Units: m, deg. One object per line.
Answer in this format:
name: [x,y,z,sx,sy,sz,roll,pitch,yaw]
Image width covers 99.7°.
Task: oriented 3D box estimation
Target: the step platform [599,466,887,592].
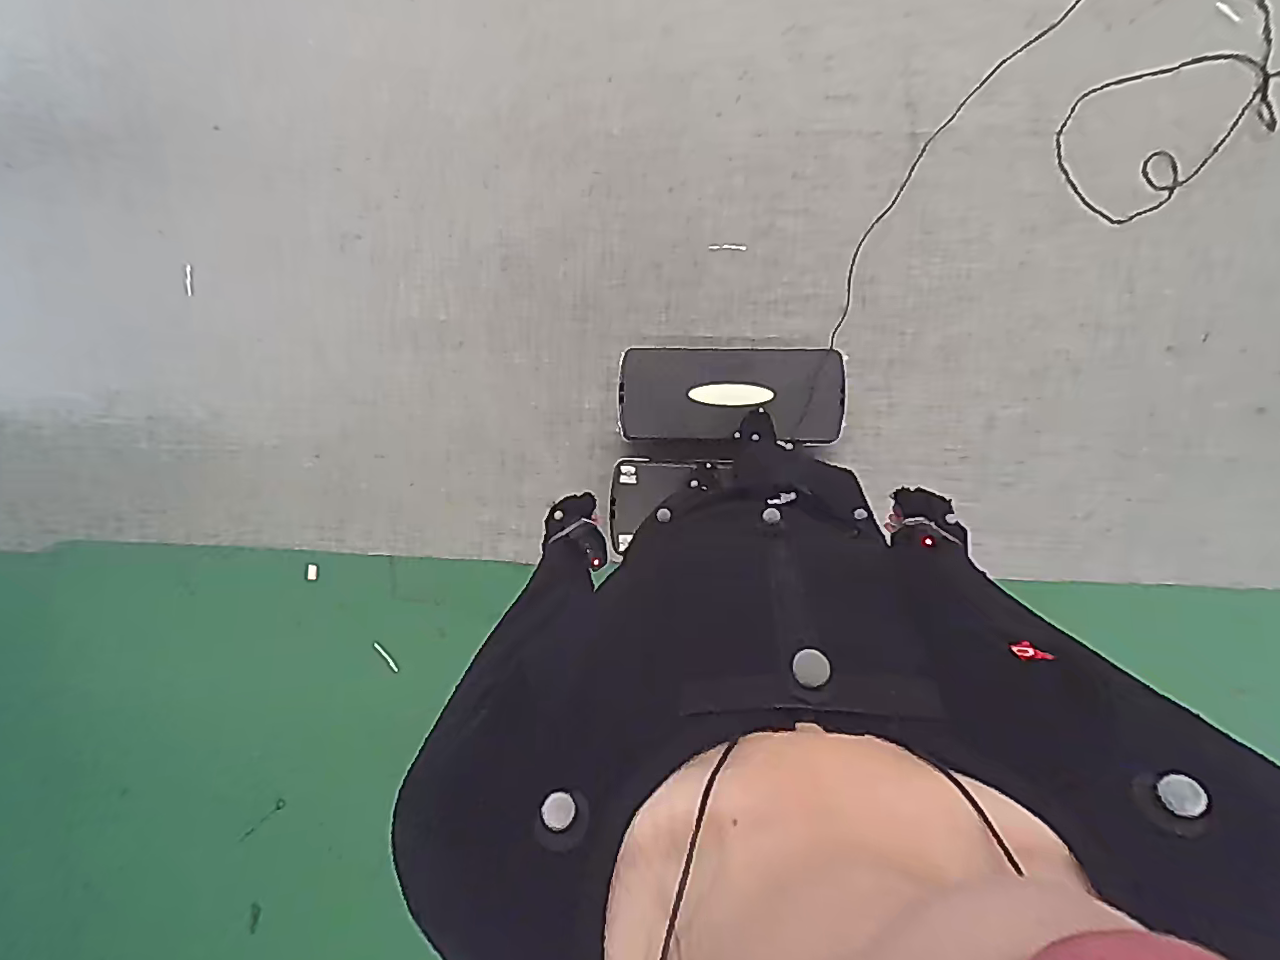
step platform: [0.247,0.114,1.383,0.684,0.204,0.286,2,92,2]
